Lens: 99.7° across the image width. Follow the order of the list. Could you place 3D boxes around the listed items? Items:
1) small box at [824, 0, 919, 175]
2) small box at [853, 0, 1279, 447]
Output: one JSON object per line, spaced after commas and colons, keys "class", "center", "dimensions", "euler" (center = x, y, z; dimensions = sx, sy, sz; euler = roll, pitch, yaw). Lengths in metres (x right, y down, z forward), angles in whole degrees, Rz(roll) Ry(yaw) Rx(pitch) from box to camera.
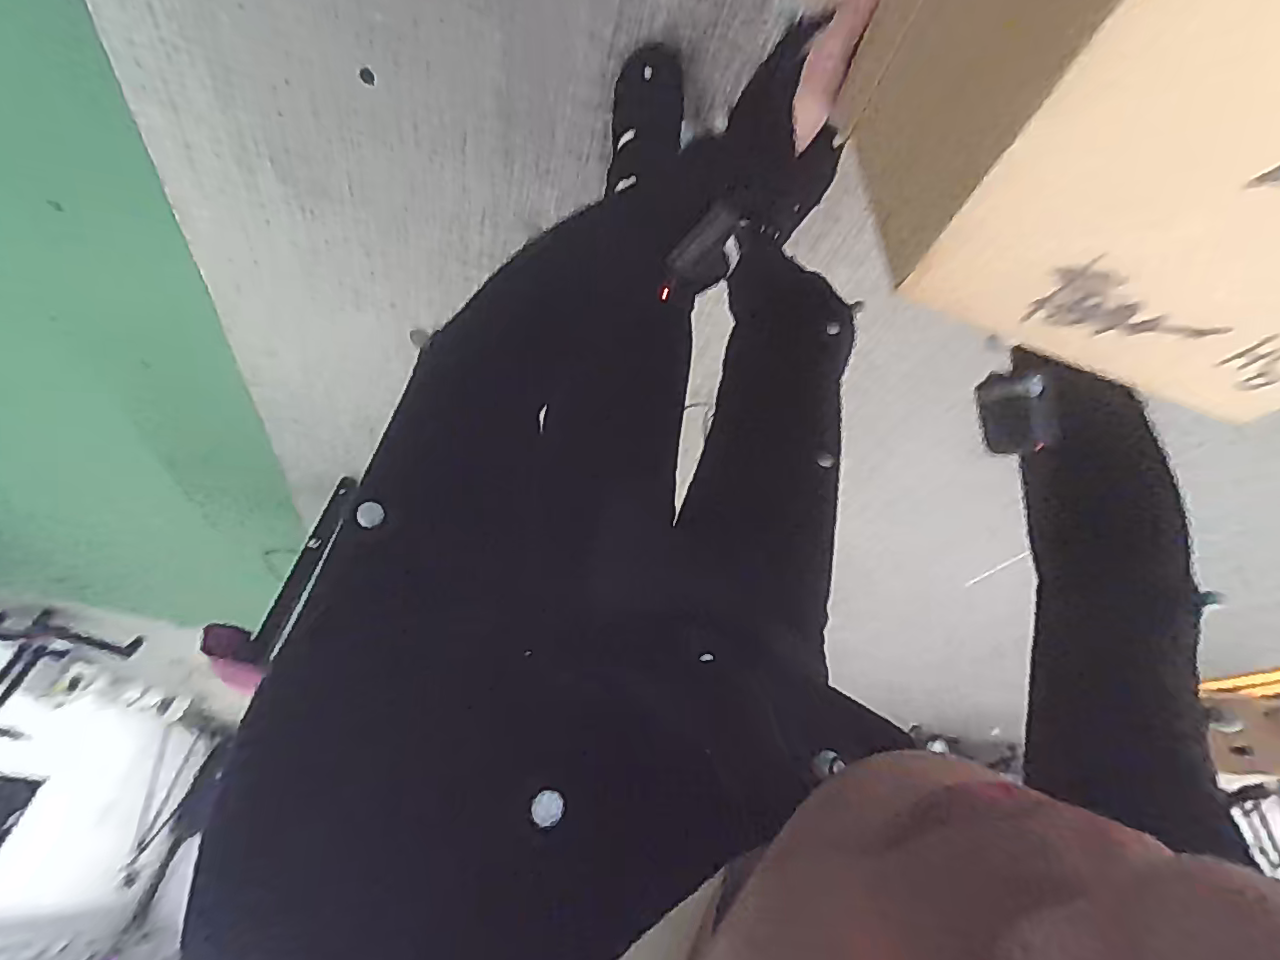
{"class": "small box", "center": [0.221, -0.267, 0.304], "dimensions": [0.168, 0.176, 0.179], "euler": [18, 139, -7]}
{"class": "small box", "center": [0.197, -0.147, 0.193], "dimensions": [0.168, 0.176, 0.179], "euler": [17, 139, -7]}
